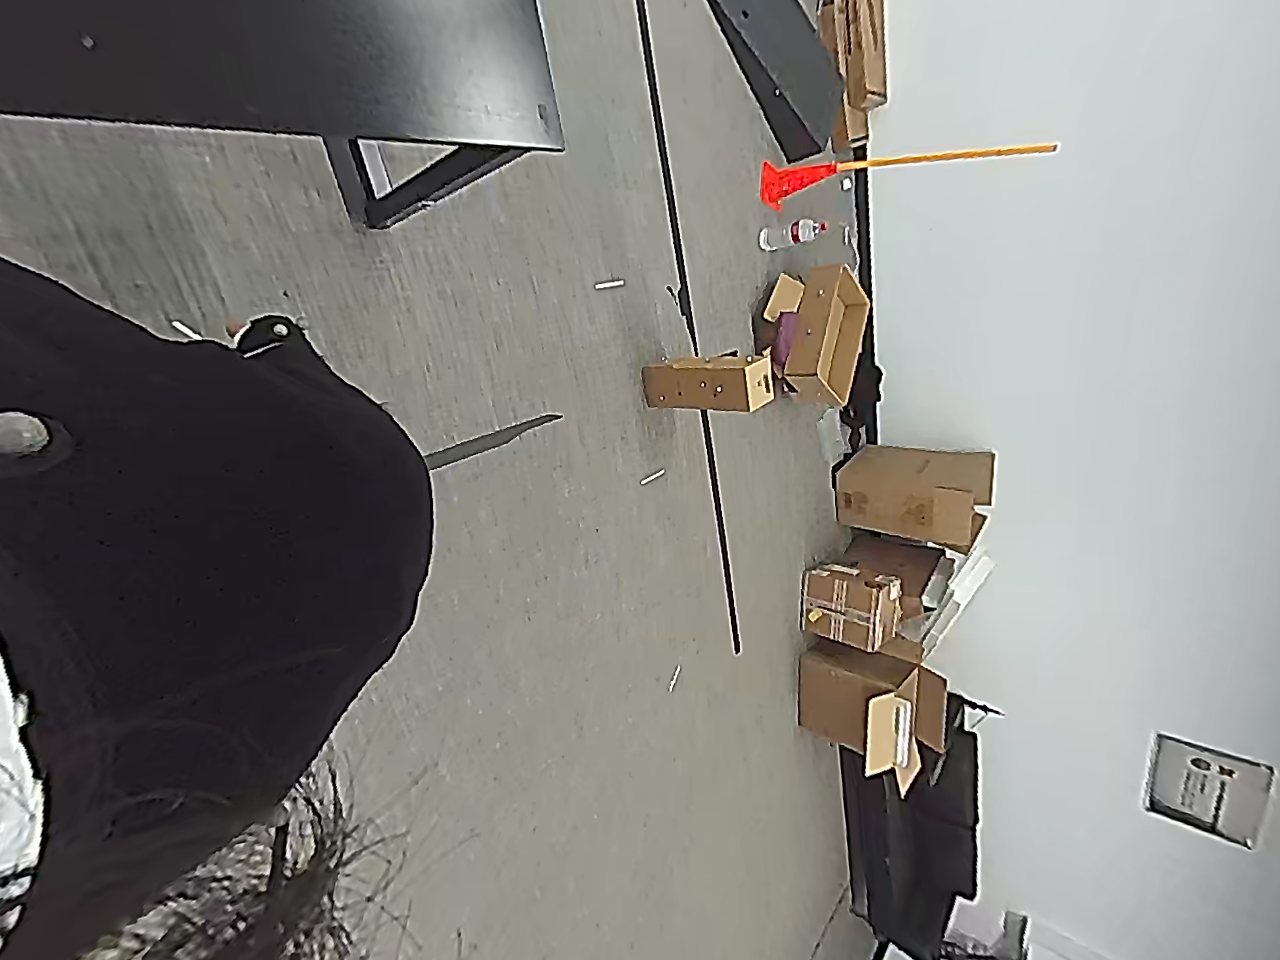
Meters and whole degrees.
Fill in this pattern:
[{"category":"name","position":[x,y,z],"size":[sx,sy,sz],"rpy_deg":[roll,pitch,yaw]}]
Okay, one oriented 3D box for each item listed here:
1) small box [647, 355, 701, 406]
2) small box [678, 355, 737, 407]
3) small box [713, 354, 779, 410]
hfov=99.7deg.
[{"category":"small box","position":[0.153,-0.408,2.222],"size":[0.168,0.176,0.179],"rpy_deg":[-29,115,-41]},{"category":"small box","position":[0.271,-0.389,2.110],"size":[0.179,0.176,0.168],"rpy_deg":[-31,118,-41]},{"category":"small box","position":[0.392,-0.367,1.999],"size":[0.179,0.176,0.168],"rpy_deg":[-30,117,-39]}]
